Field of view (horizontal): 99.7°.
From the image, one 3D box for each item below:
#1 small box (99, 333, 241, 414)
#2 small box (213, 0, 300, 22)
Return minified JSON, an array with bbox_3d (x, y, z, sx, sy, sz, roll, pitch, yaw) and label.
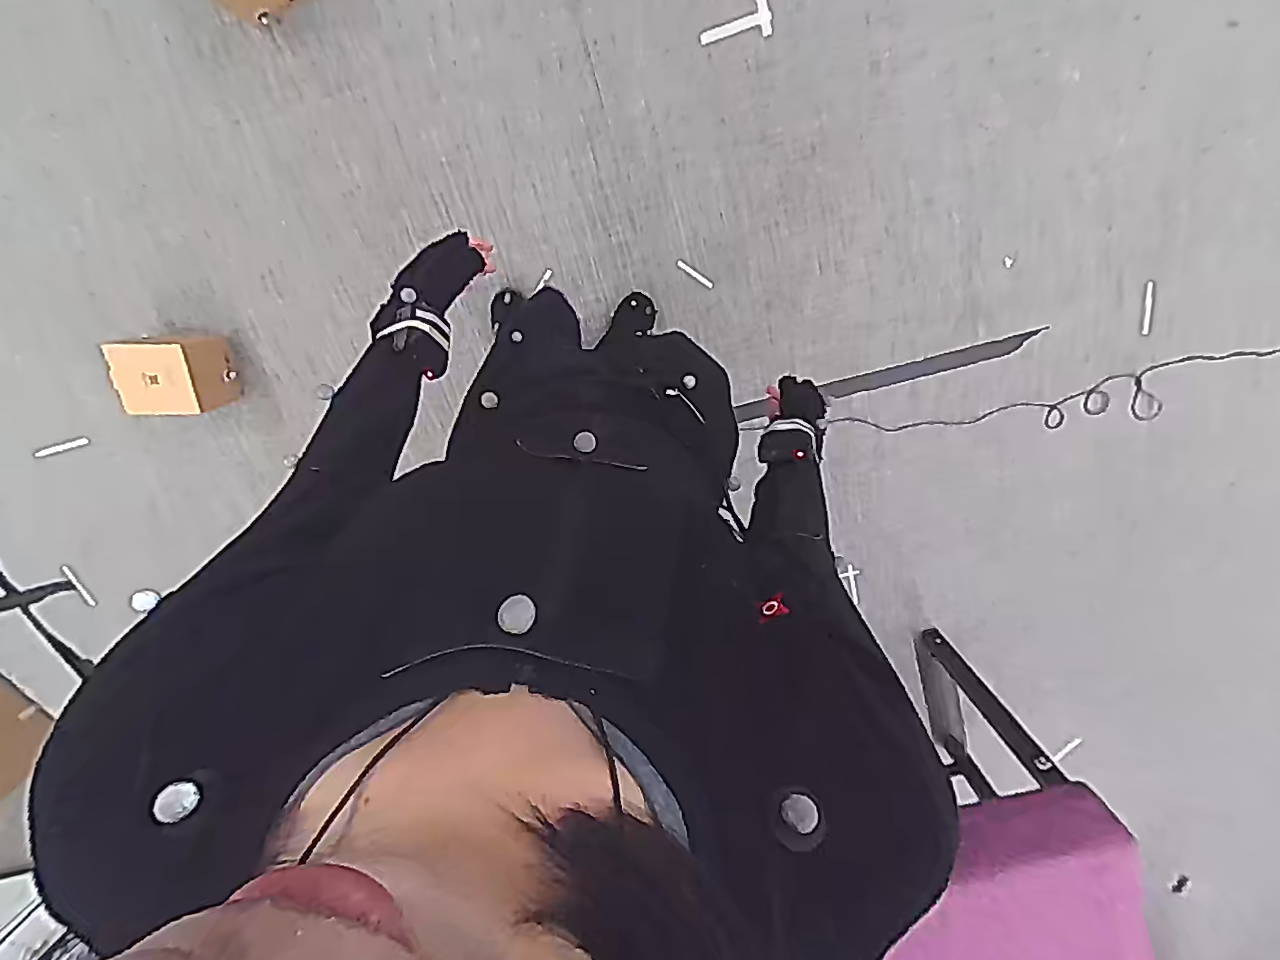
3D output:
[{"bbox_3d":[-1.126,-0.260,1.310,0.179,0.176,0.168,-1,112,-4],"label":"small box"},{"bbox_3d":[-0.769,-1.029,1.033,0.168,0.176,0.179,-26,110,7],"label":"small box"}]
